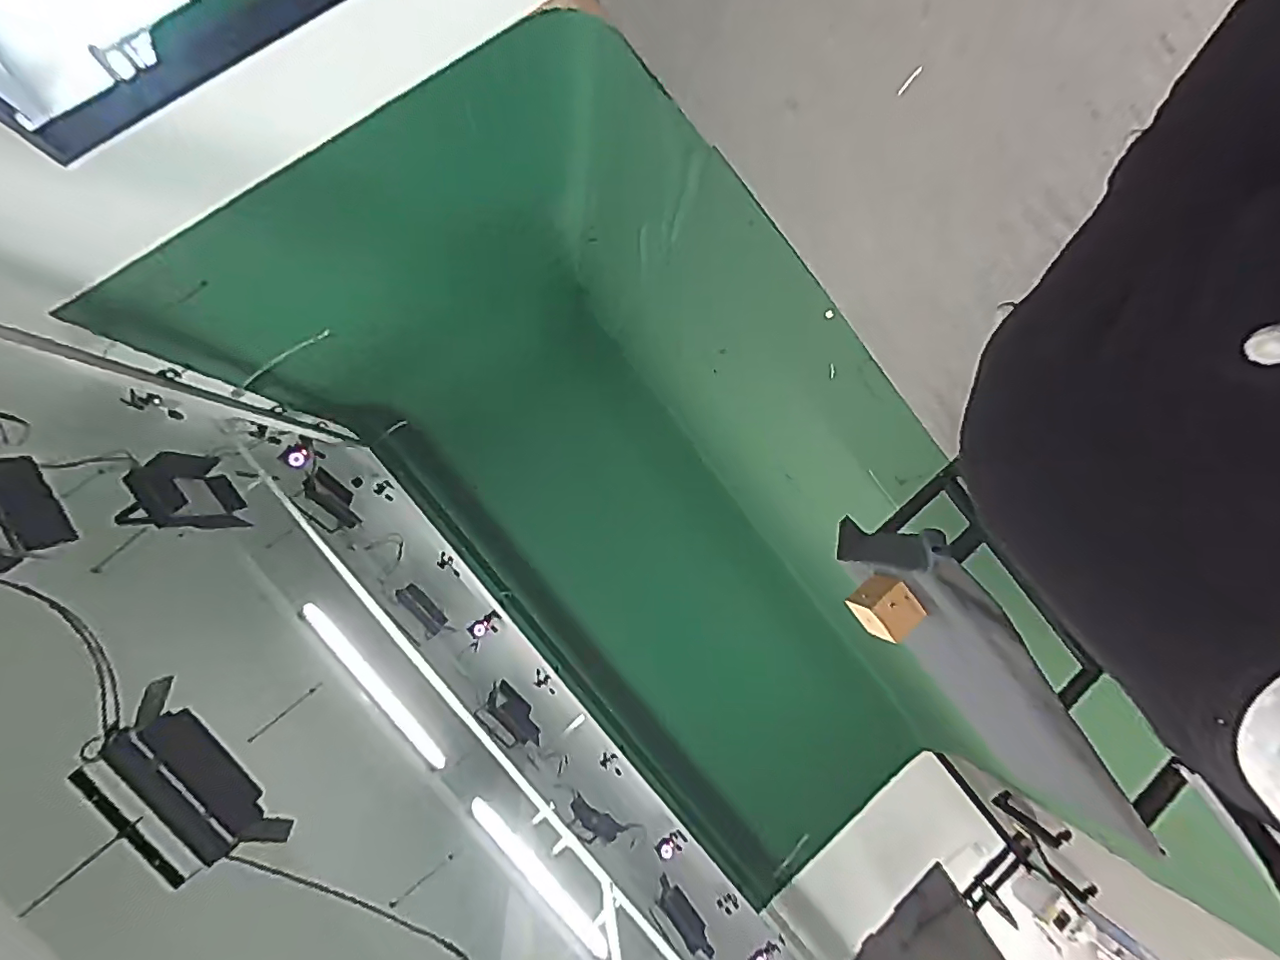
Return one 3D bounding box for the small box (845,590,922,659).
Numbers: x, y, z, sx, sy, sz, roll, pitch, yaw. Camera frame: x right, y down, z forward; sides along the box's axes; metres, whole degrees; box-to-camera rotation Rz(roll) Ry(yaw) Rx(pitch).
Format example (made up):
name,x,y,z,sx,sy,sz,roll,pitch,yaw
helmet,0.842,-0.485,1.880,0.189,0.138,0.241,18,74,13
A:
name,x,y,z,sx,sy,sz,roll,pitch,yaw
small box,0.917,0.532,2.023,0.168,0.176,0.179,54,172,-4
